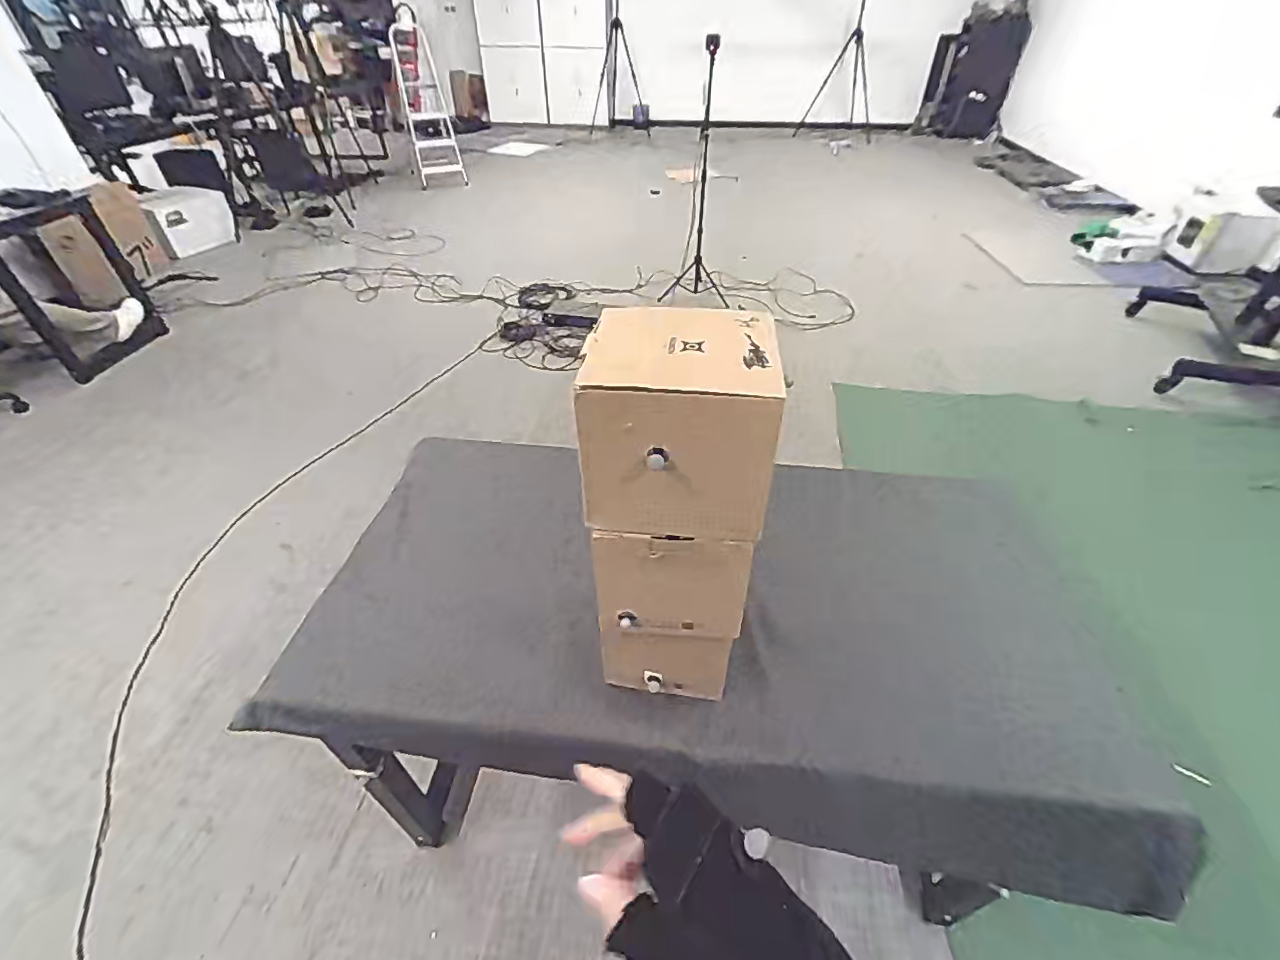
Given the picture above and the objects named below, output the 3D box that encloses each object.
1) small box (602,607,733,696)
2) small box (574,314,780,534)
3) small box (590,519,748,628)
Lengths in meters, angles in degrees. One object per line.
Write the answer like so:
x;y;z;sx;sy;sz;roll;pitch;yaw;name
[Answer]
0.046;0.181;0.778;0.168;0.176;0.179;4;42;7;small box
0.038;-0.059;0.560;0.179;0.176;0.168;2;39;3;small box
0.037;0.065;0.662;0.168;0.176;0.179;0;41;2;small box
